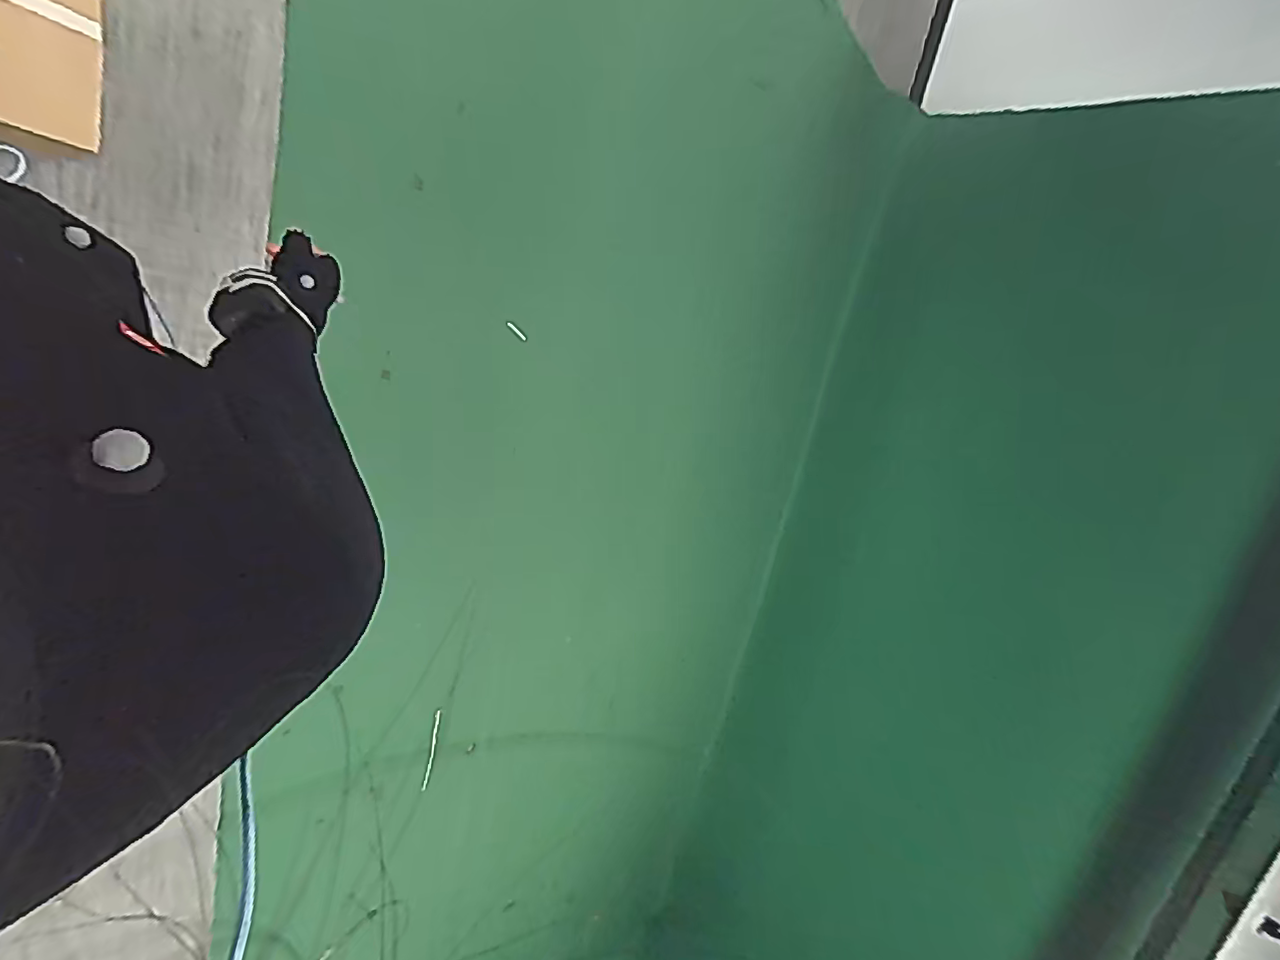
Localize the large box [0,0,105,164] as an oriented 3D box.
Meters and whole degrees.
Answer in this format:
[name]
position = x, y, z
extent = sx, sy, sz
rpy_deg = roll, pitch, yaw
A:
[large box]
position = -0.996, -0.661, 0.699
extent = 0.408, 0.320, 0.320
rpy_deg = -1, 109, -51
